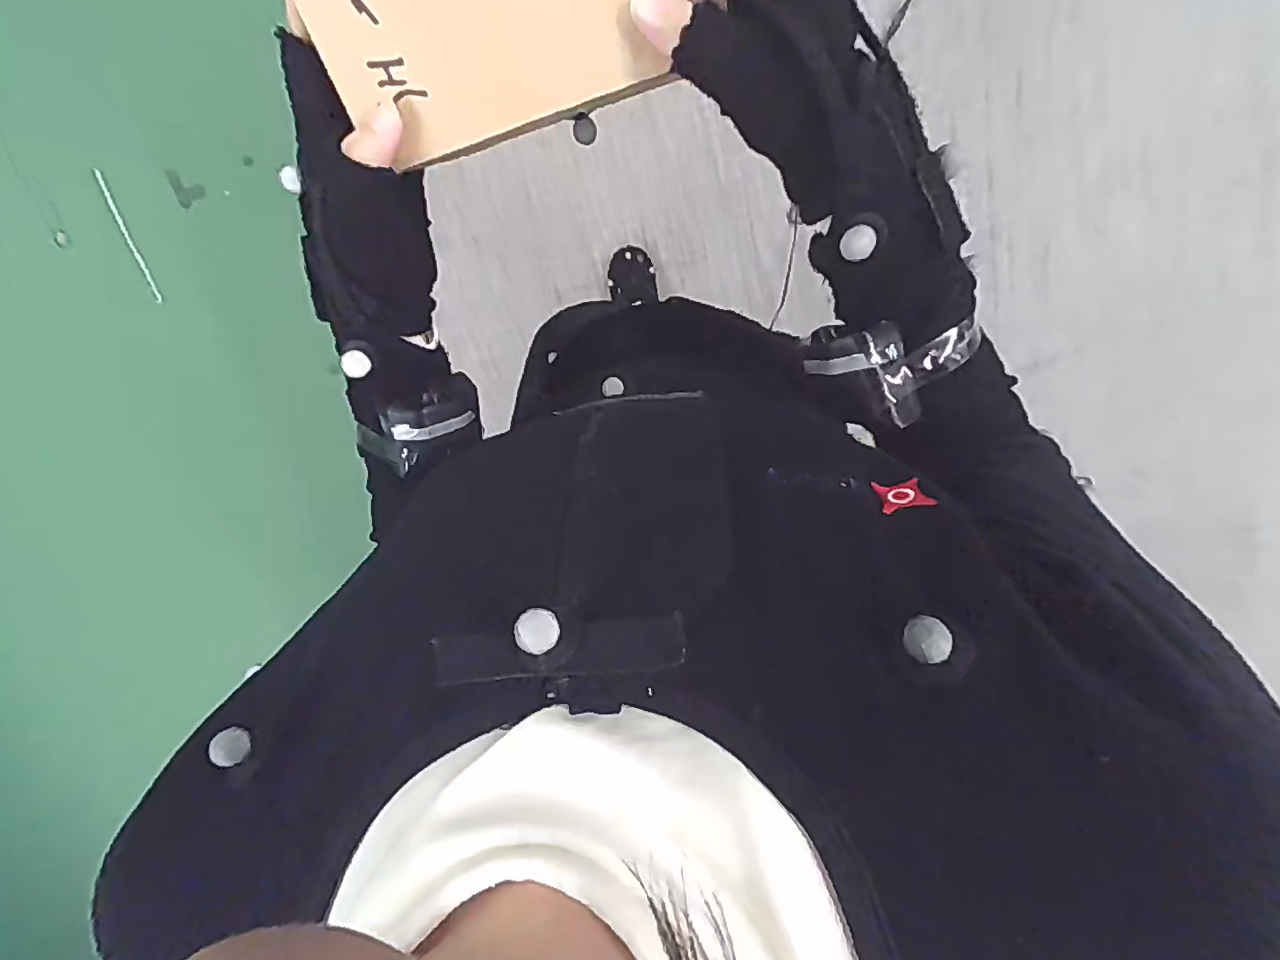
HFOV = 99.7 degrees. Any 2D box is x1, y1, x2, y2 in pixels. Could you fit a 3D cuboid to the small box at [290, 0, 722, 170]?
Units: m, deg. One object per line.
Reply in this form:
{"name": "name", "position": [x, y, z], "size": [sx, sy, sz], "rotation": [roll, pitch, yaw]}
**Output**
{"name": "small box", "position": [-0.068, -0.277, 0.270], "size": [0.179, 0.176, 0.168], "rotation": [-13, 123, 9]}
